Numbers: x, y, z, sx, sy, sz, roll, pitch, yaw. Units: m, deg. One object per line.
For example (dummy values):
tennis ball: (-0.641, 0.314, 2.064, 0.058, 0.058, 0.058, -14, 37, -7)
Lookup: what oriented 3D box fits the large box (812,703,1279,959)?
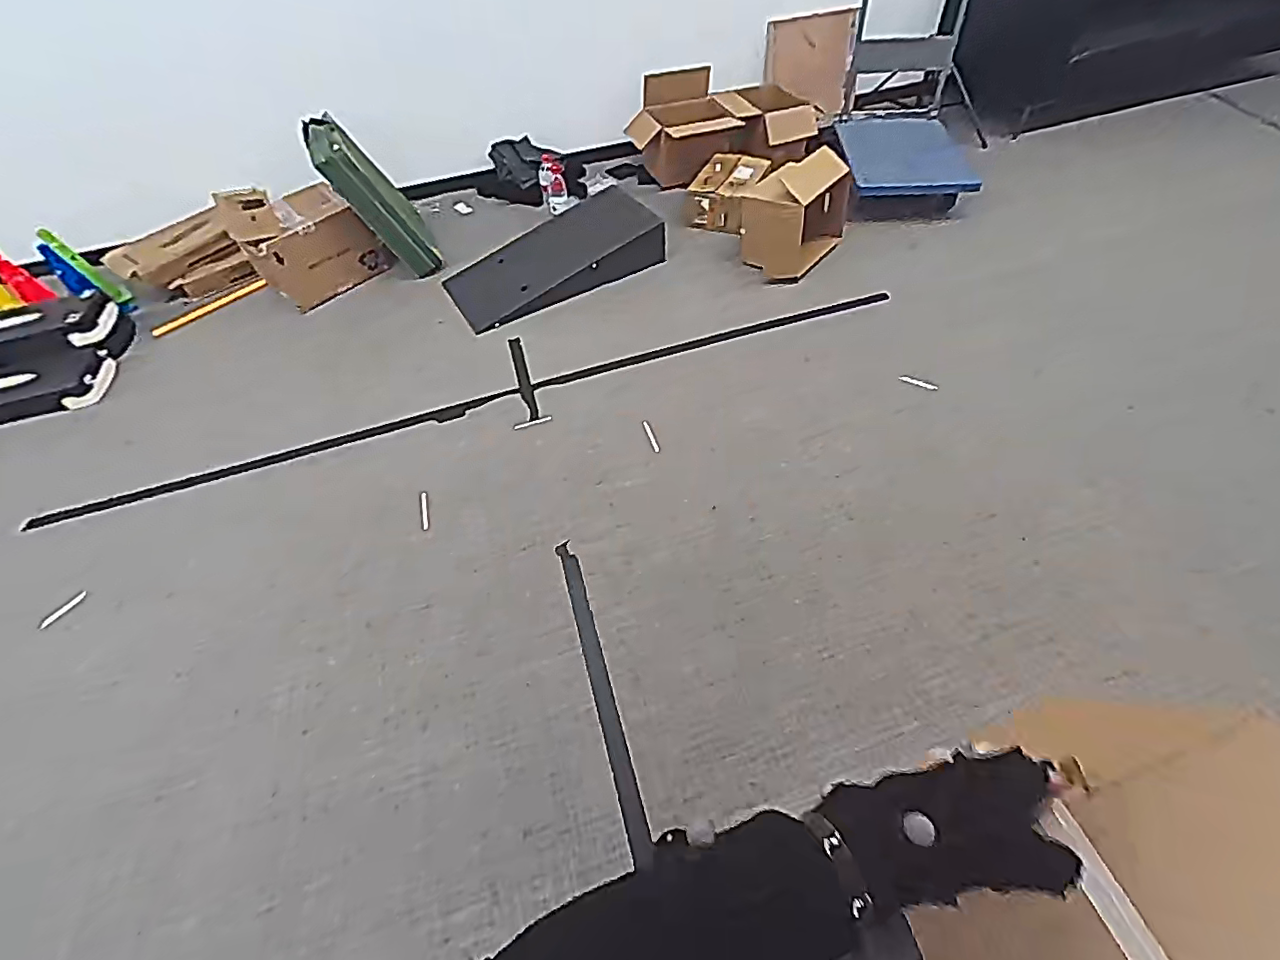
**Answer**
large box: (0.389, 0.444, 0.441, 0.320, 0.320, 0.408, -26, 66, 3)
